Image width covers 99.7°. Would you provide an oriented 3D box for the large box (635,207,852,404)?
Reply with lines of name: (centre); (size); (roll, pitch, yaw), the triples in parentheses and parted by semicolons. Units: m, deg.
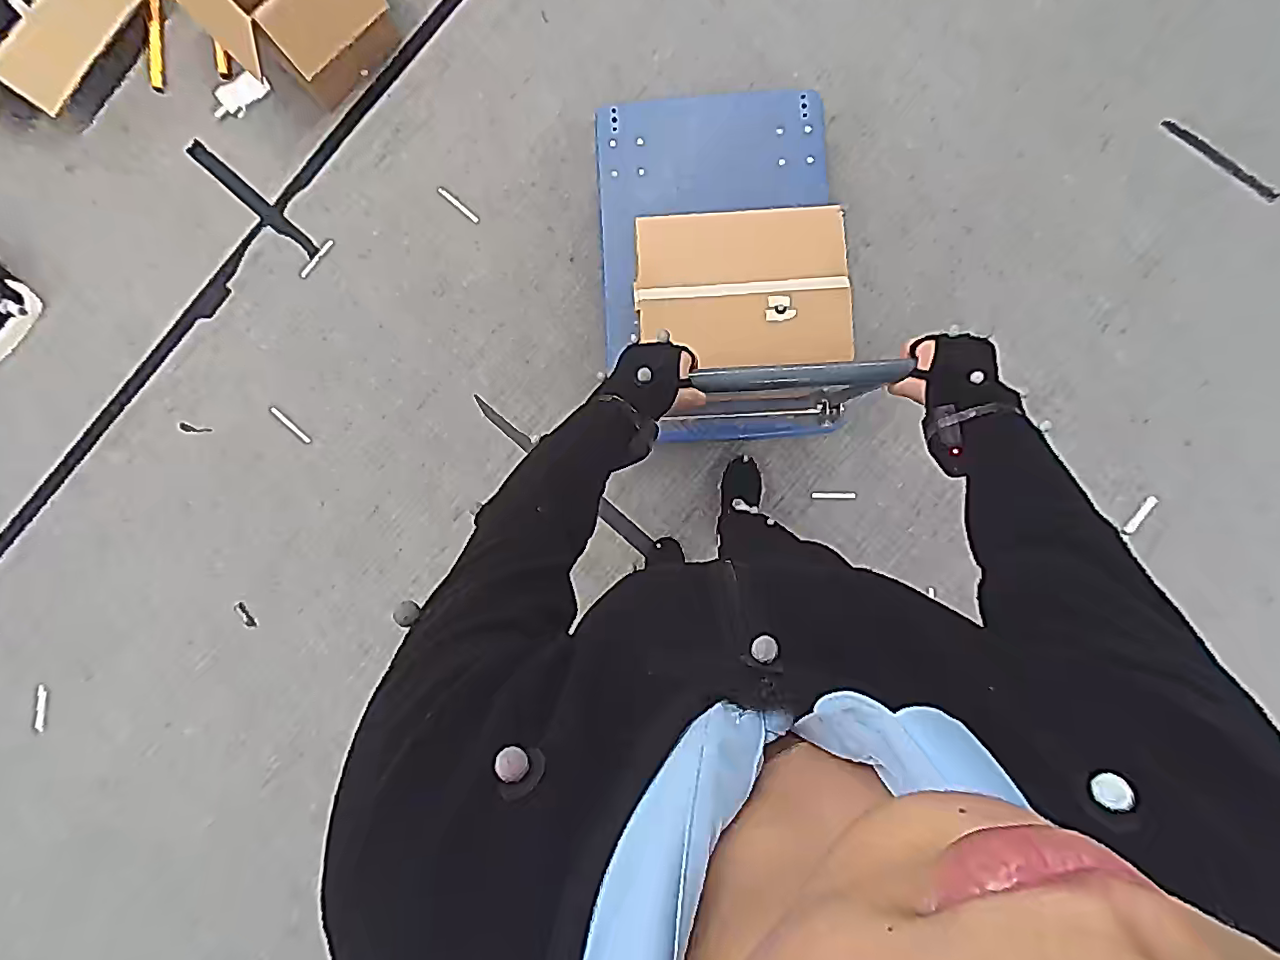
large box: (0.201, -0.359, 1.196); (0.408, 0.320, 0.320); (-3, 87, 0)
